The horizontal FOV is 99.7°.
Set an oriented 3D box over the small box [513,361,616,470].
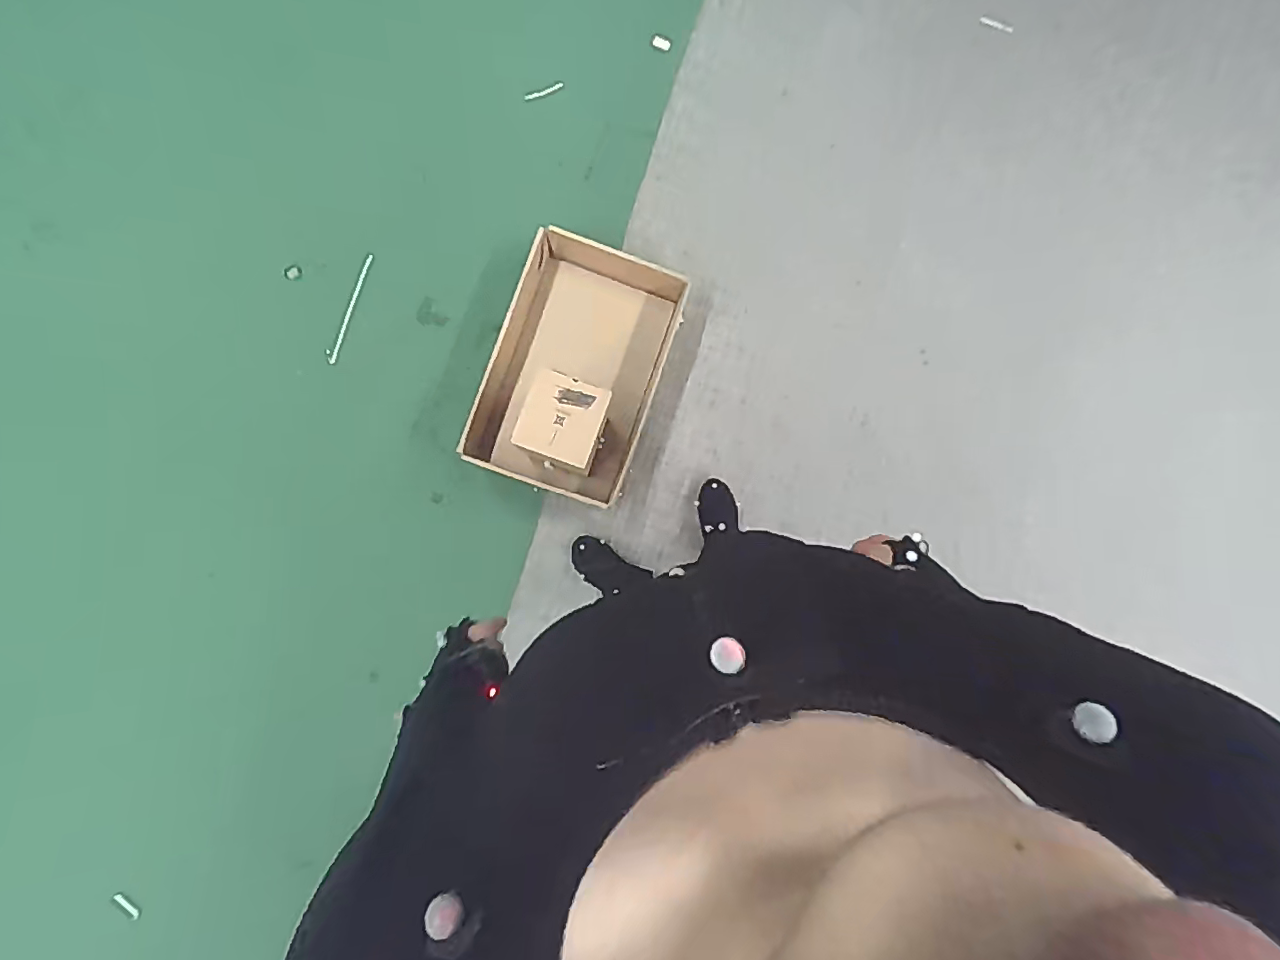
[{"bbox_3d":[-0.162,-0.131,1.178,0.168,0.176,0.179,20,86,-3],"label":"small box"}]
